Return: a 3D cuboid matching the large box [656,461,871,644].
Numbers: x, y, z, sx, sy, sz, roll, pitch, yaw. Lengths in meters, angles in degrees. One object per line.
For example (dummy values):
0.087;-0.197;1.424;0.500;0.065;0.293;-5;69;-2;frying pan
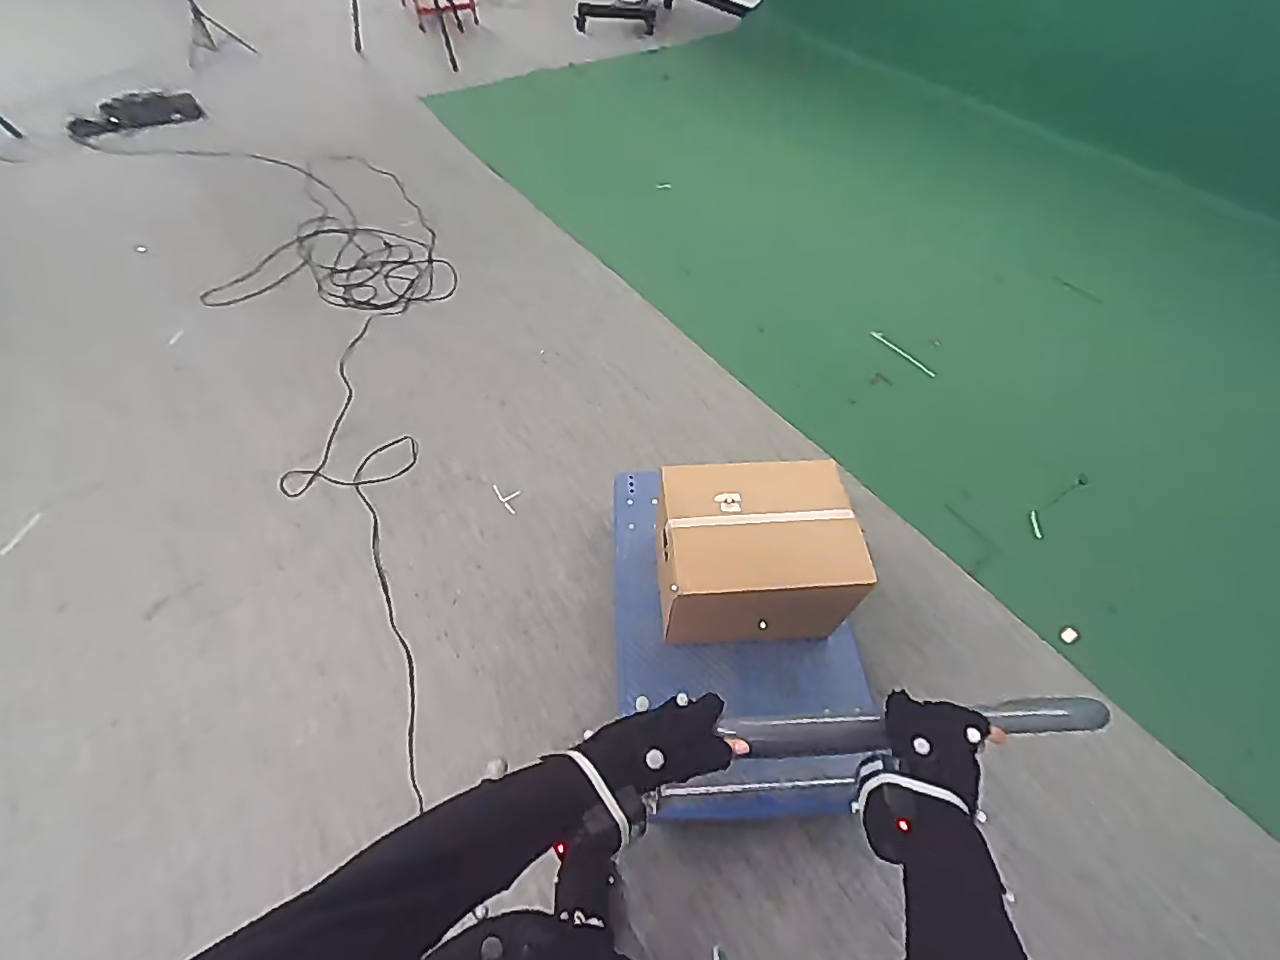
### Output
0.255;0.177;1.277;0.408;0.320;0.320;-3;55;-4;large box
